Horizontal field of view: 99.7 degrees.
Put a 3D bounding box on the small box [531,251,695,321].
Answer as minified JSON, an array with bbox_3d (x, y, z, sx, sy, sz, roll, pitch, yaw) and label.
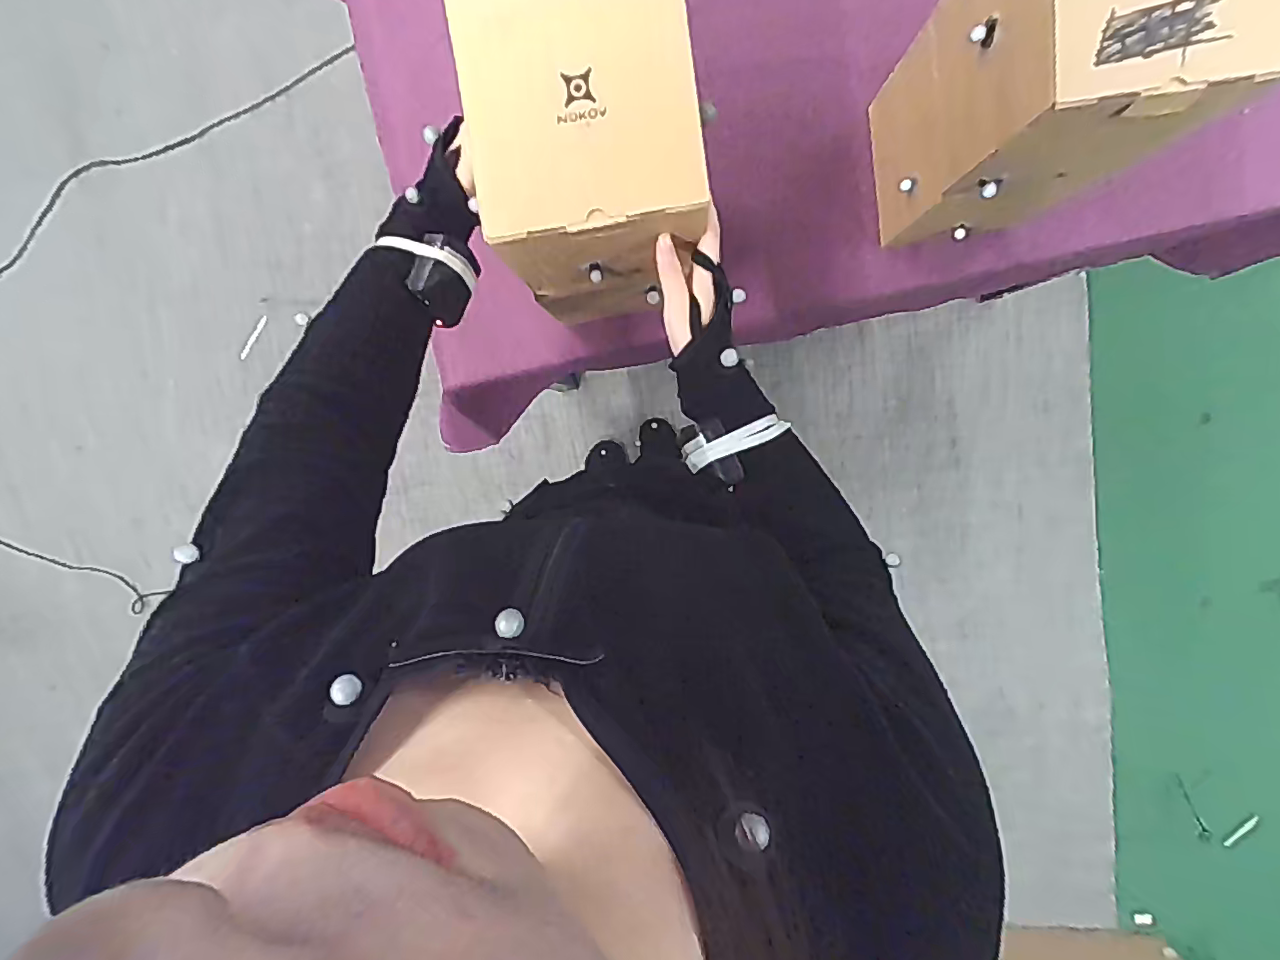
[{"bbox_3d":[-0.035,-0.298,0.645,0.179,0.176,0.168,-9,96,5],"label":"small box"}]

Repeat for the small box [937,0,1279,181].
[{"bbox_3d":[0.366,-0.368,0.442,0.168,0.176,0.179,-6,96,5],"label":"small box"}]

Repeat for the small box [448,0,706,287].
[{"bbox_3d":[-0.041,-0.281,0.459,0.168,0.176,0.179,-8,98,4],"label":"small box"}]
